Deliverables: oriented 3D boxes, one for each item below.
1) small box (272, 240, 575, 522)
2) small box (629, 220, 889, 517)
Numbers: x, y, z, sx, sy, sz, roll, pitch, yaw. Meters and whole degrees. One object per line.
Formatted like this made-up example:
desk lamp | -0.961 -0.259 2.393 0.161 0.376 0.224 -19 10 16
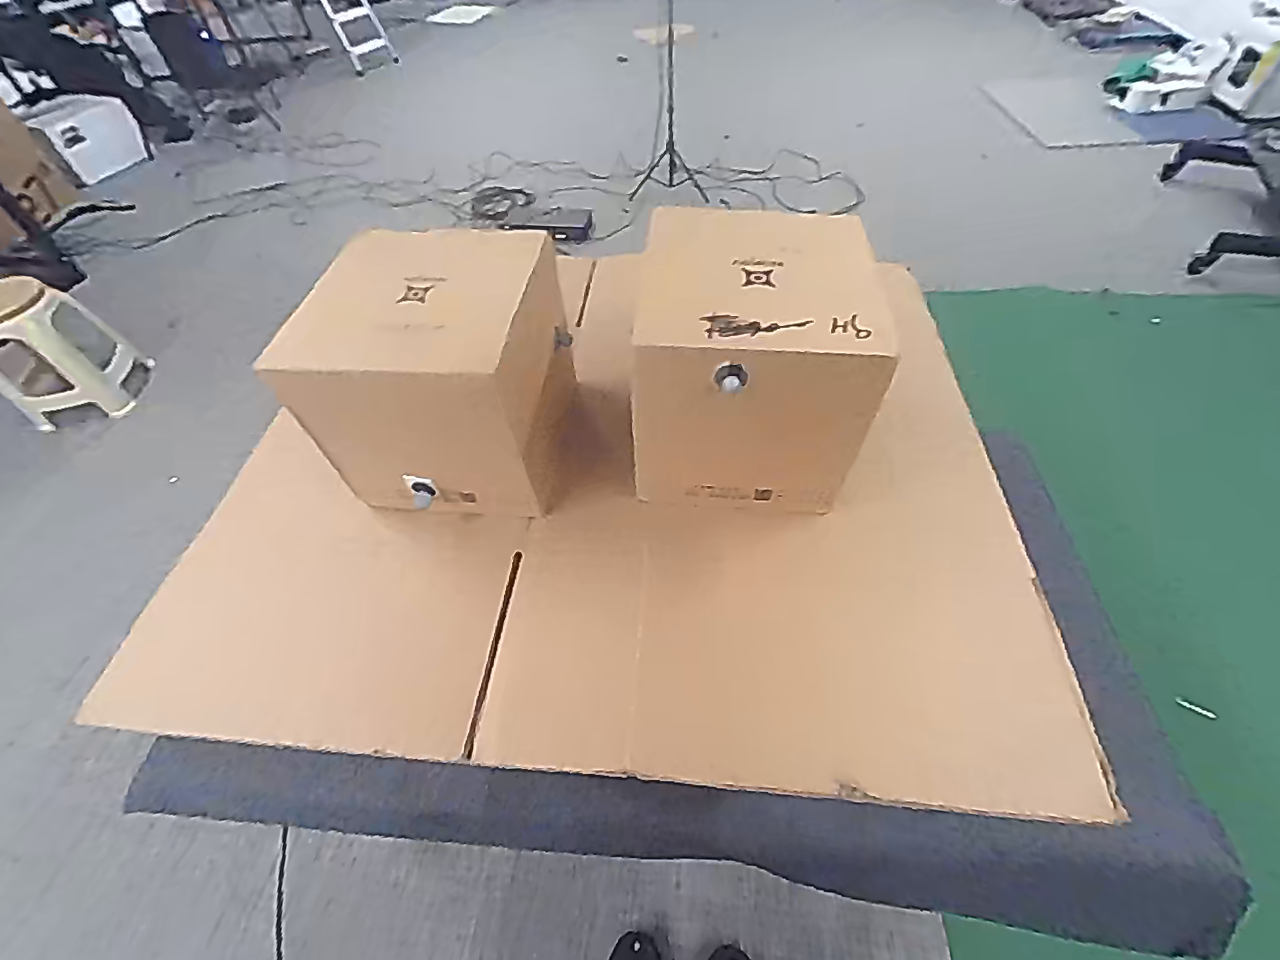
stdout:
small box | -0.157 -0.085 0.470 0.168 0.176 0.179 2 54 6
small box | 0.084 -0.092 0.452 0.168 0.176 0.179 4 52 6
